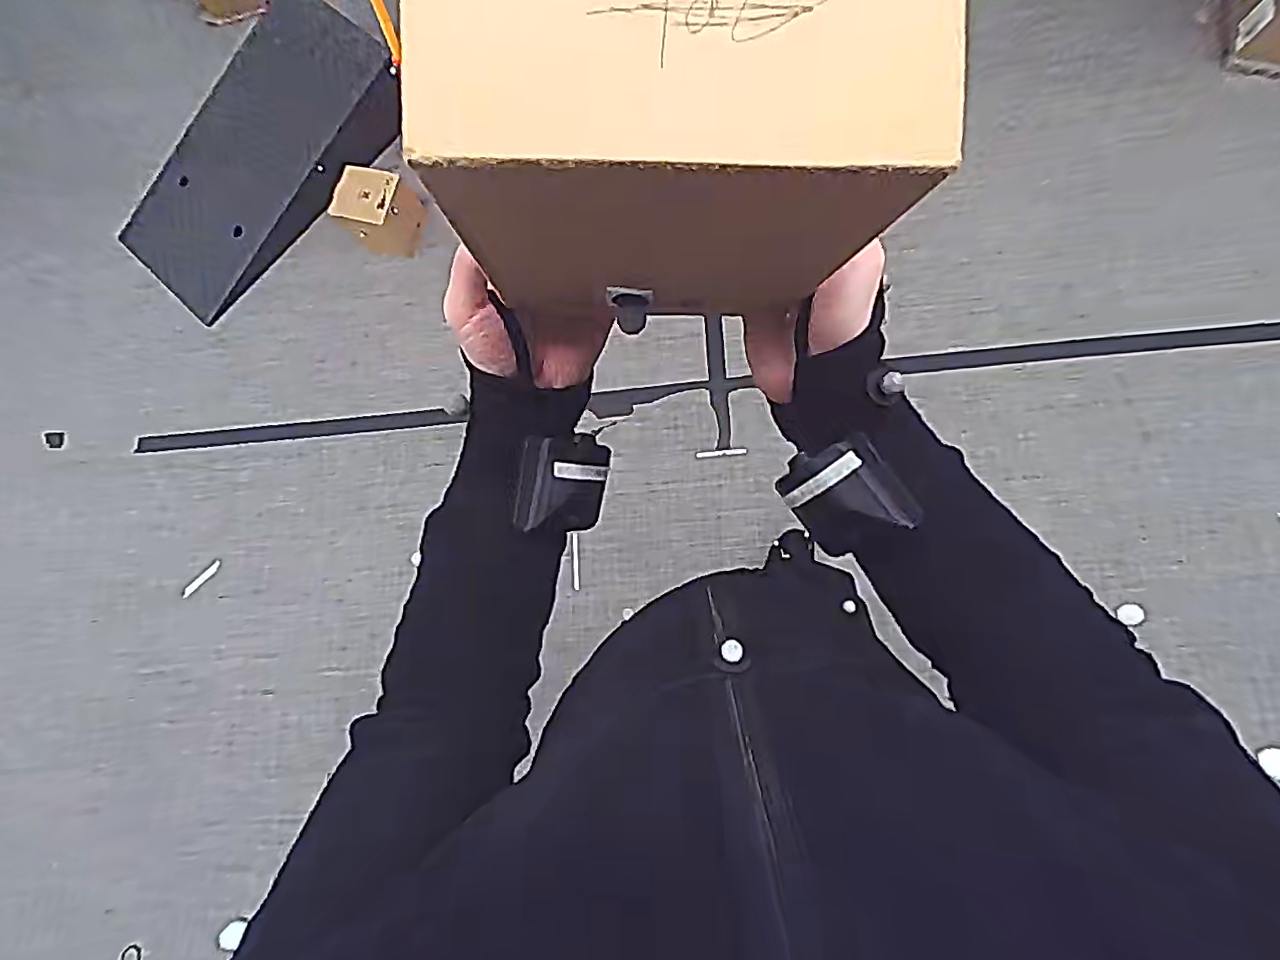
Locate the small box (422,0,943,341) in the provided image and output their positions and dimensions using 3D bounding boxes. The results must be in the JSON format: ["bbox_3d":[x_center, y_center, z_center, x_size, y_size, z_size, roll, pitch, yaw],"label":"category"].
[{"bbox_3d":[0.011,-0.171,0.249,0.168,0.176,0.179,-1,93,-2],"label":"small box"}]
